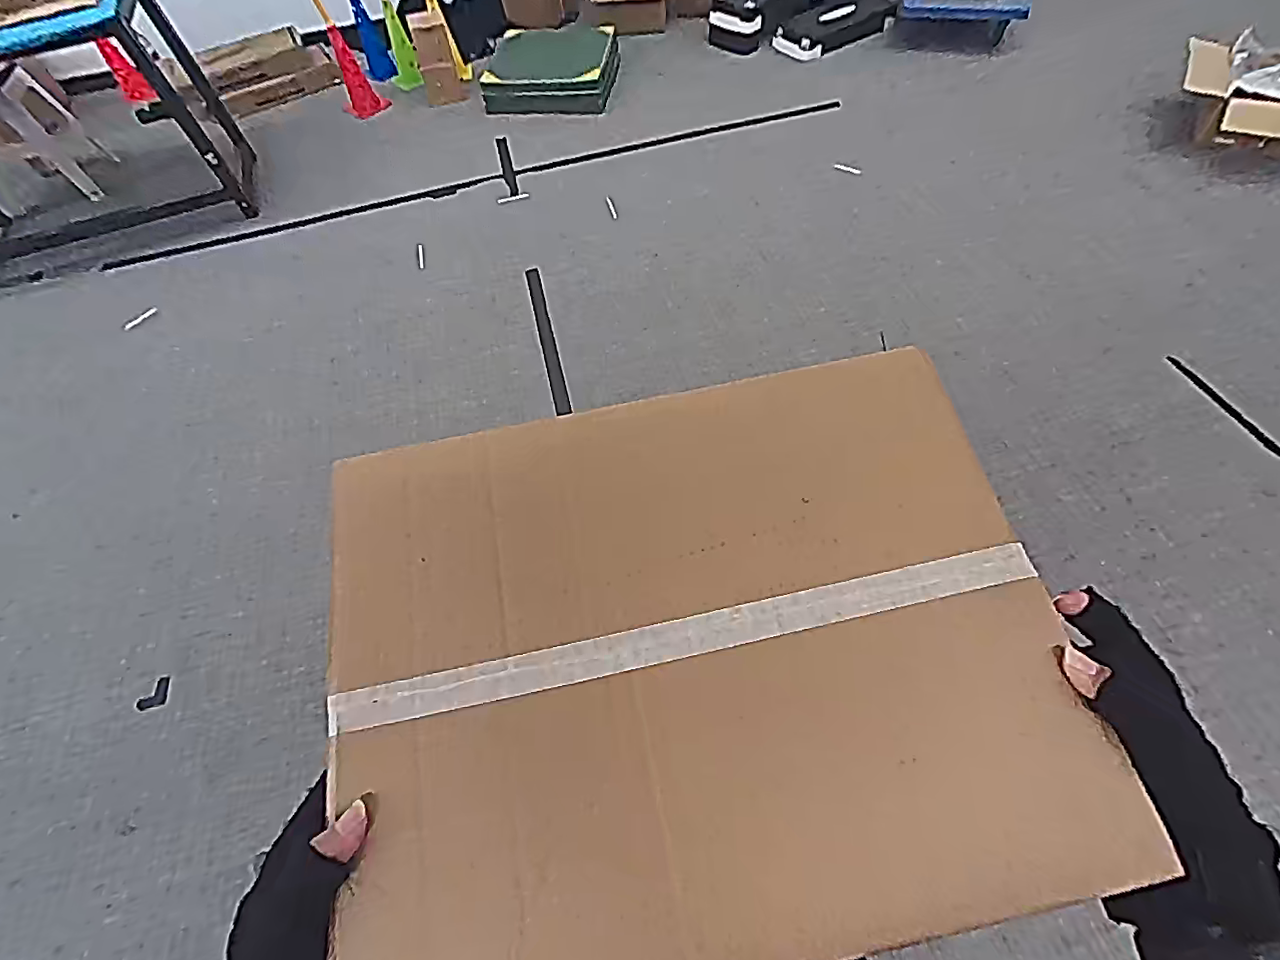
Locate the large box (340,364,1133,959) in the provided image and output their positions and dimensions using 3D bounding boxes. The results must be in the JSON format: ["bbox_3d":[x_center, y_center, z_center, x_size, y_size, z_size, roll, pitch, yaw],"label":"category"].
[{"bbox_3d":[0.032,0.152,0.453,0.408,0.320,0.320,-12,67,-2],"label":"large box"}]
